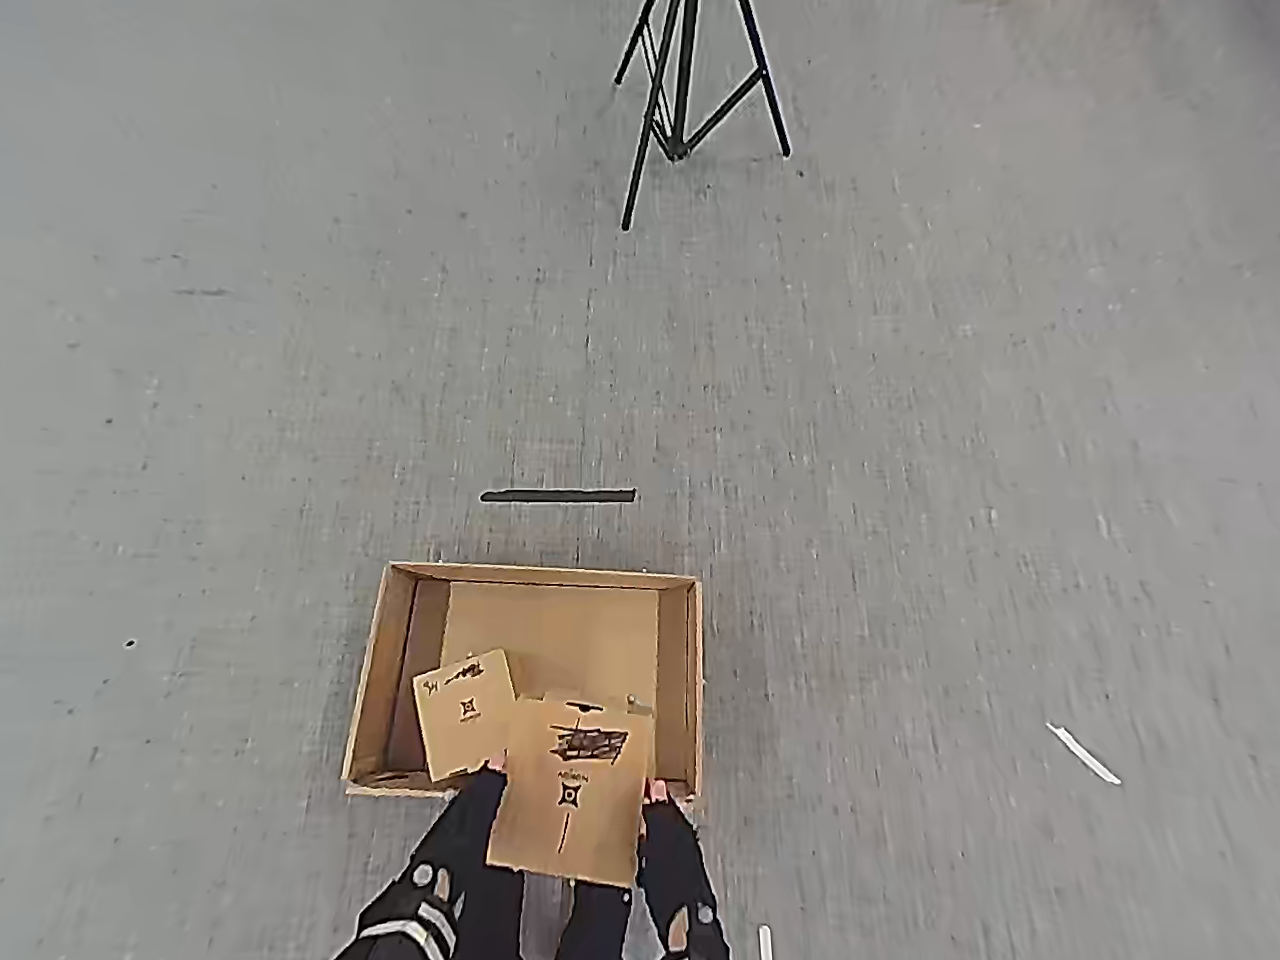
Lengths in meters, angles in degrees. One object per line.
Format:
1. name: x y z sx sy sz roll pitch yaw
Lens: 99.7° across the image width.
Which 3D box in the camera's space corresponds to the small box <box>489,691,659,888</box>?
1. small box: -0.071 0.370 0.682 0.168 0.176 0.179 7 71 4
